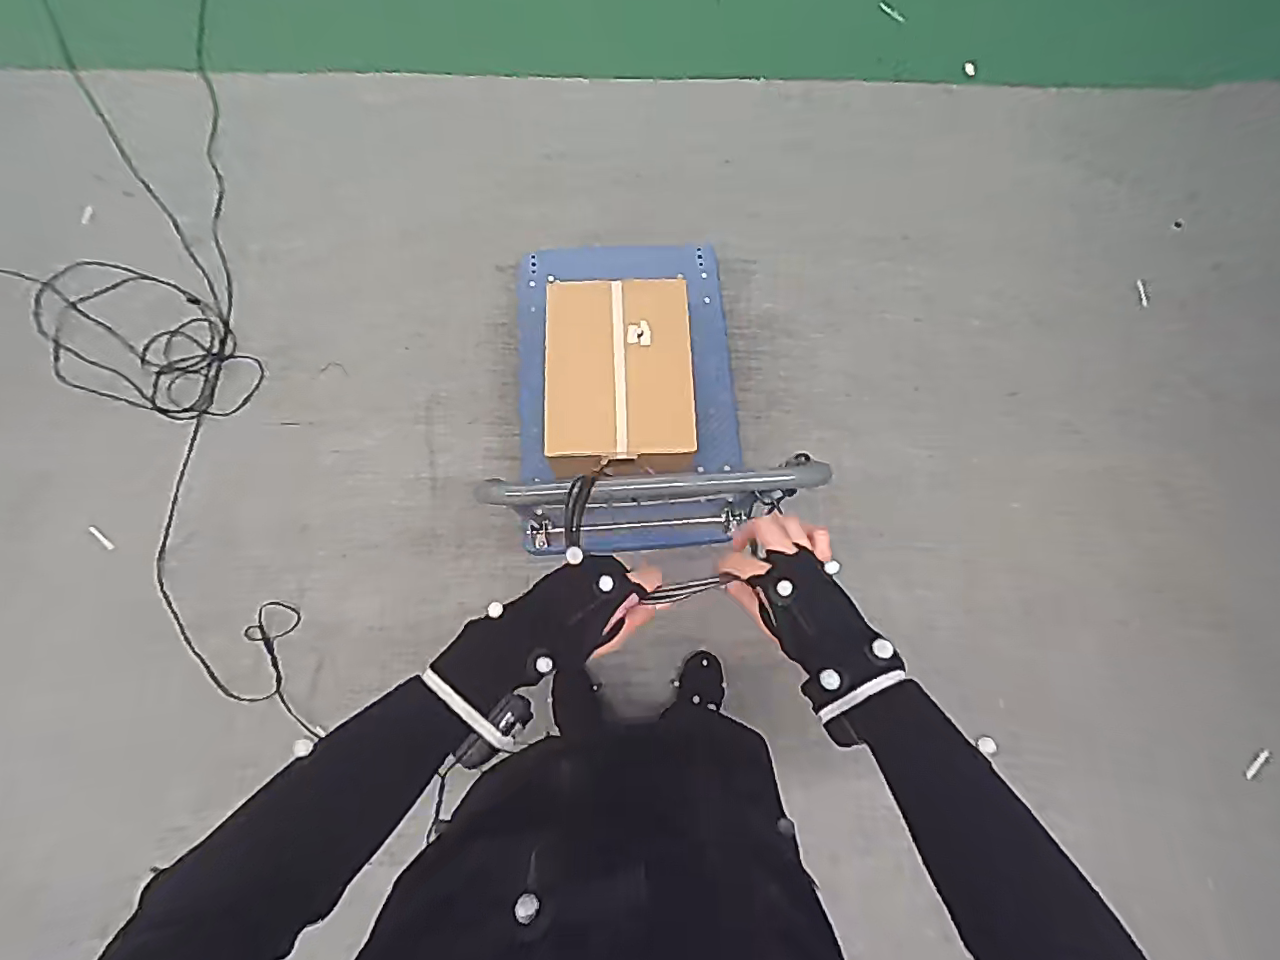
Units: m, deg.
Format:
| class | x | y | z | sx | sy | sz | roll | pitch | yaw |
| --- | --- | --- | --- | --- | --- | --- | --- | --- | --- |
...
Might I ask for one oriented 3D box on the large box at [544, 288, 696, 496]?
| class | x | y | z | sx | sy | sz | roll | pitch | yaw |
| --- | --- | --- | --- | --- | --- | --- | --- | --- | --- |
| large box | -0.050 | -0.193 | 1.295 | 0.320 | 0.320 | 0.408 | -1 | 74 | -2 |
